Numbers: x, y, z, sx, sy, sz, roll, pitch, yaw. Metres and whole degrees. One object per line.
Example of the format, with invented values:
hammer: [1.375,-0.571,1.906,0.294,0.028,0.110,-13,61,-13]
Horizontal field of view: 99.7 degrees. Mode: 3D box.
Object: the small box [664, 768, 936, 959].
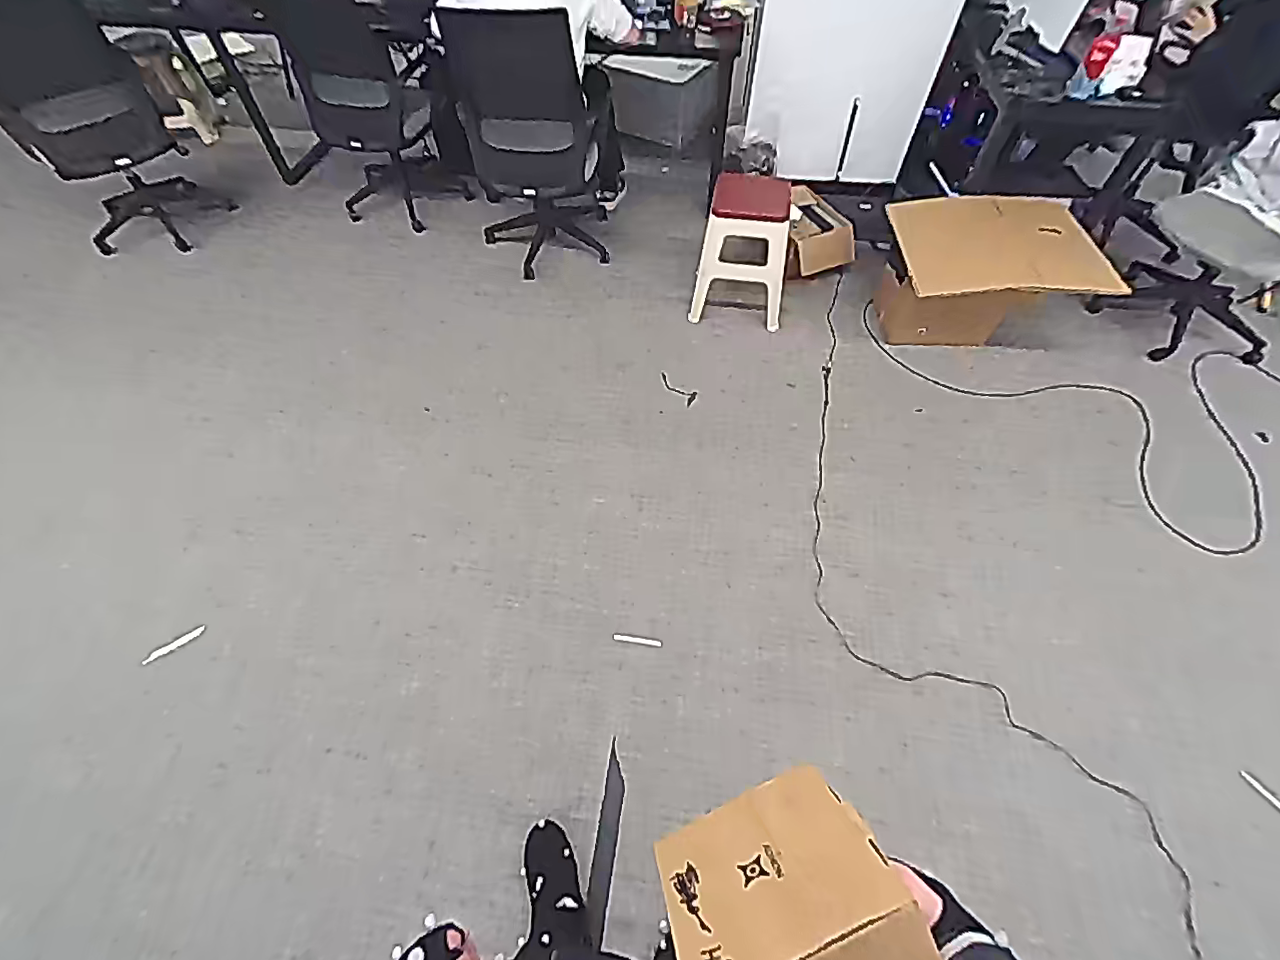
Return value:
small box: [0.142,0.403,0.468,0.179,0.168,0.176,-23,95,-5]
